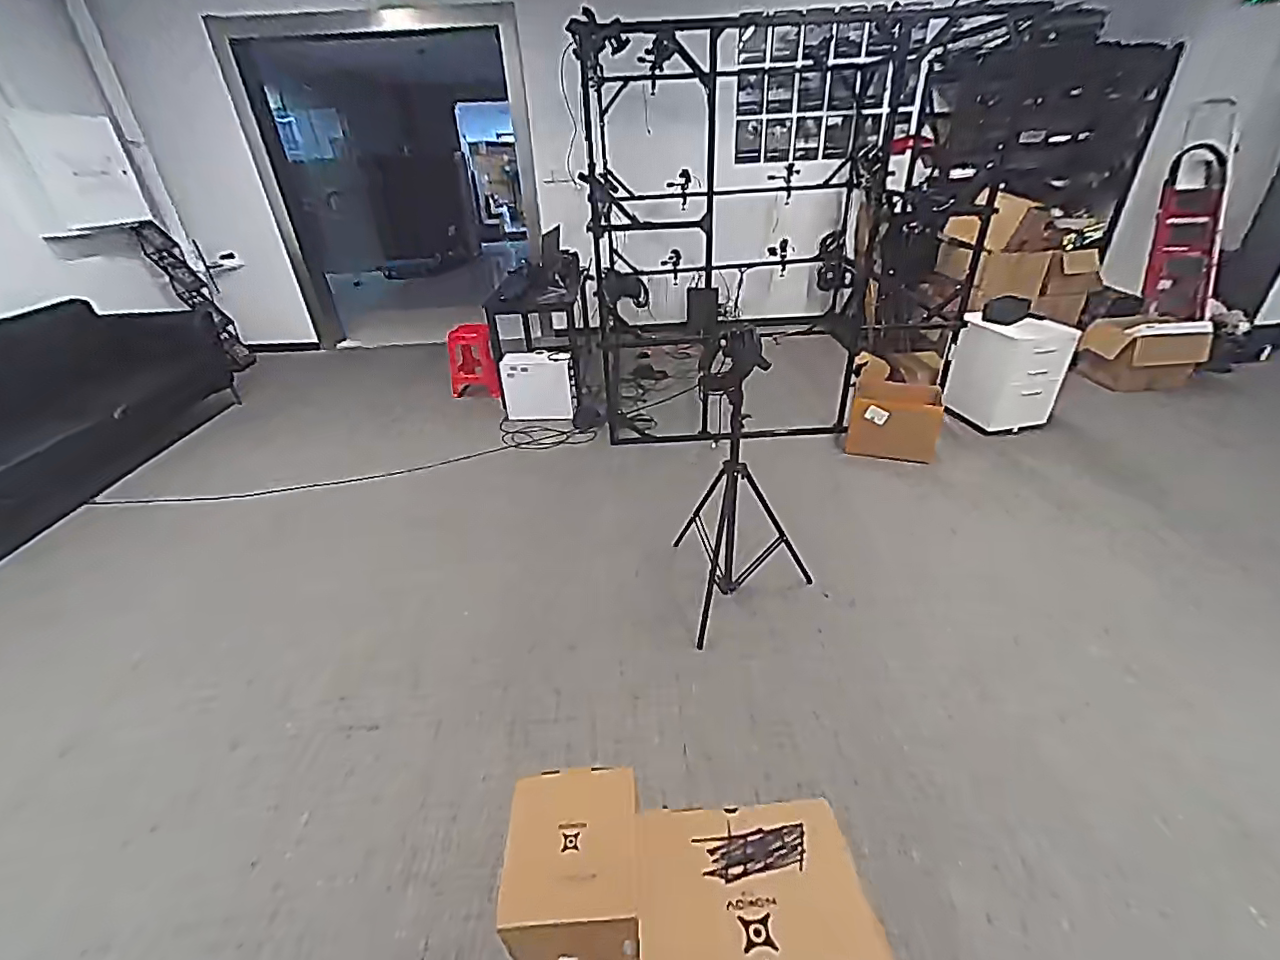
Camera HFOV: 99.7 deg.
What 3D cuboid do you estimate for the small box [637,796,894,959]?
[{"bbox_3d":[0.084,0.378,0.404,0.168,0.176,0.179,-4,21,-2],"label":"small box"}]

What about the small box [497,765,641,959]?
[{"bbox_3d":[-0.079,0.516,0.723,0.168,0.176,0.179,-6,34,0],"label":"small box"}]
